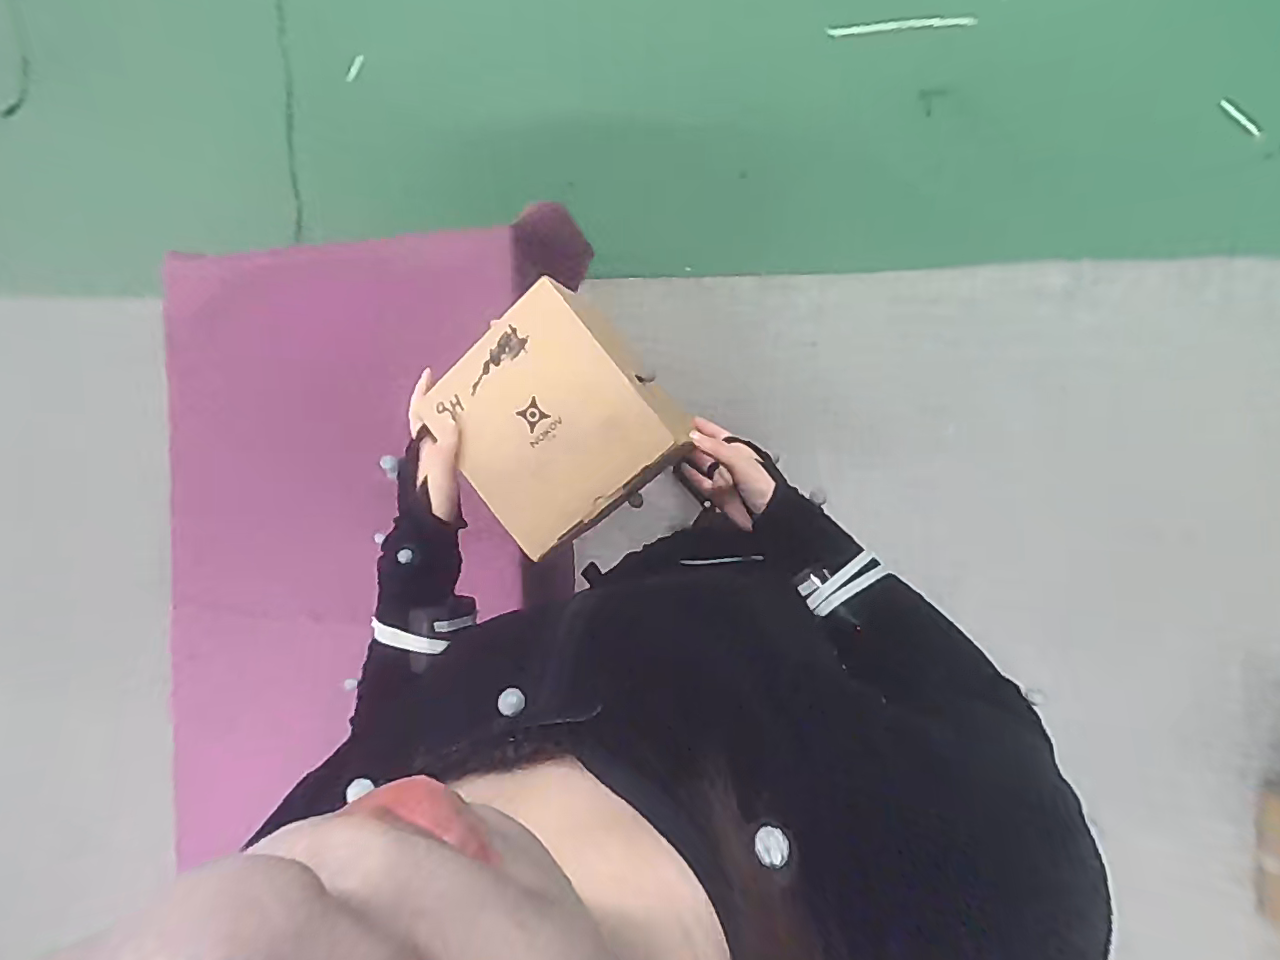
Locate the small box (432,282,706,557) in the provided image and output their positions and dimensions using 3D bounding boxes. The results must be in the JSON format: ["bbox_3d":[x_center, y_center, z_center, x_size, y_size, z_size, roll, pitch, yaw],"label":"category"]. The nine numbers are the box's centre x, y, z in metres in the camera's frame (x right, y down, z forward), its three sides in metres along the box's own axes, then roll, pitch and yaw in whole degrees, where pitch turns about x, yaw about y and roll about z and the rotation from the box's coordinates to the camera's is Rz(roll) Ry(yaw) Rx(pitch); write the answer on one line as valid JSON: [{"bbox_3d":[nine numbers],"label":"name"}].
[{"bbox_3d":[-0.052,-0.058,0.528,0.168,0.176,0.179,-38,88,15],"label":"small box"}]
